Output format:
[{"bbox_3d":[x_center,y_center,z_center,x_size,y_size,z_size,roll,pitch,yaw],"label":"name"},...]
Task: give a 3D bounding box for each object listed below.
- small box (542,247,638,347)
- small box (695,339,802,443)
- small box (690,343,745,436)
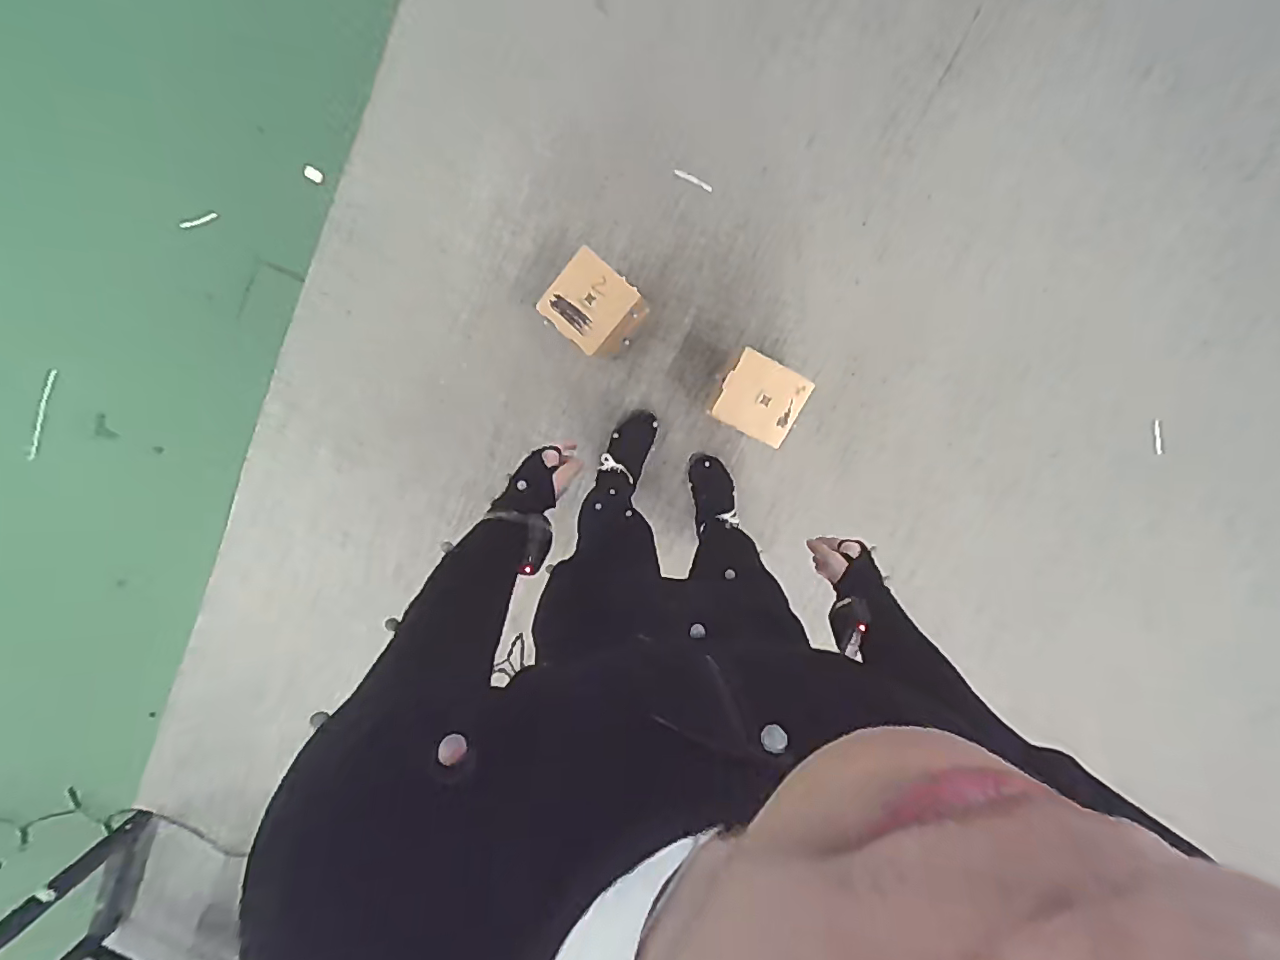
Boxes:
[{"bbox_3d":[-0.117,-0.455,1.384,0.179,0.176,0.168,-41,97,10],"label":"small box"},{"bbox_3d":[0.240,-0.204,1.248,0.179,0.176,0.168,30,102,-2],"label":"small box"},{"bbox_3d":[0.243,-0.237,1.409,0.168,0.176,0.179,28,101,-3],"label":"small box"}]
